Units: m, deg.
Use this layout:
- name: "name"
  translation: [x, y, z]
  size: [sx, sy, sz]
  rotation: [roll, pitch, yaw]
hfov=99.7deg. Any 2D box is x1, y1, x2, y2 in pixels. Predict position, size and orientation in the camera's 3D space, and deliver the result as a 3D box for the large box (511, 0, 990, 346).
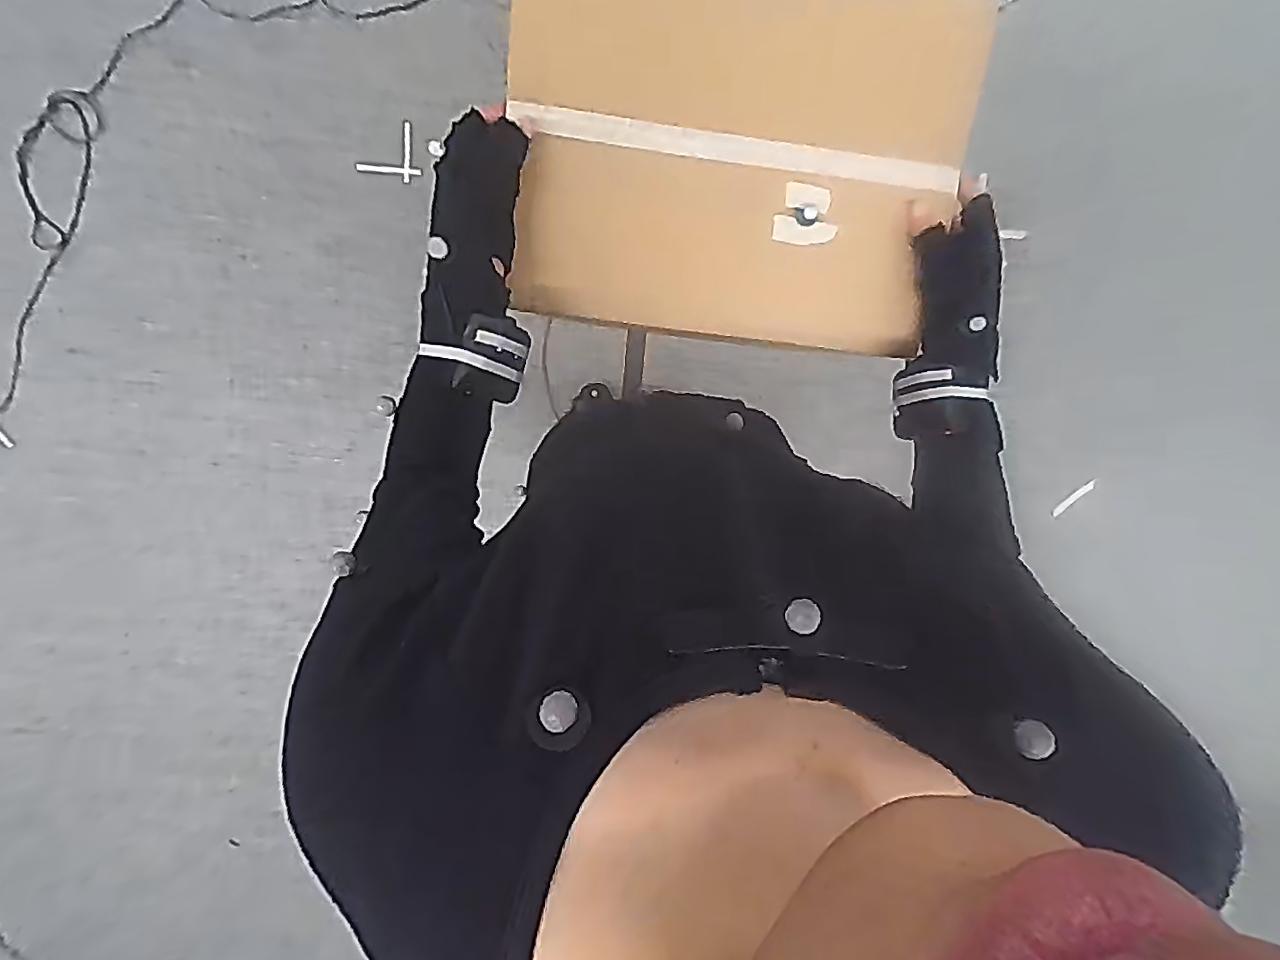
- name: "large box"
  translation: [0.079, -0.332, 0.624]
  size: [0.408, 0.320, 0.320]
  rotation: [5, 105, -6]
